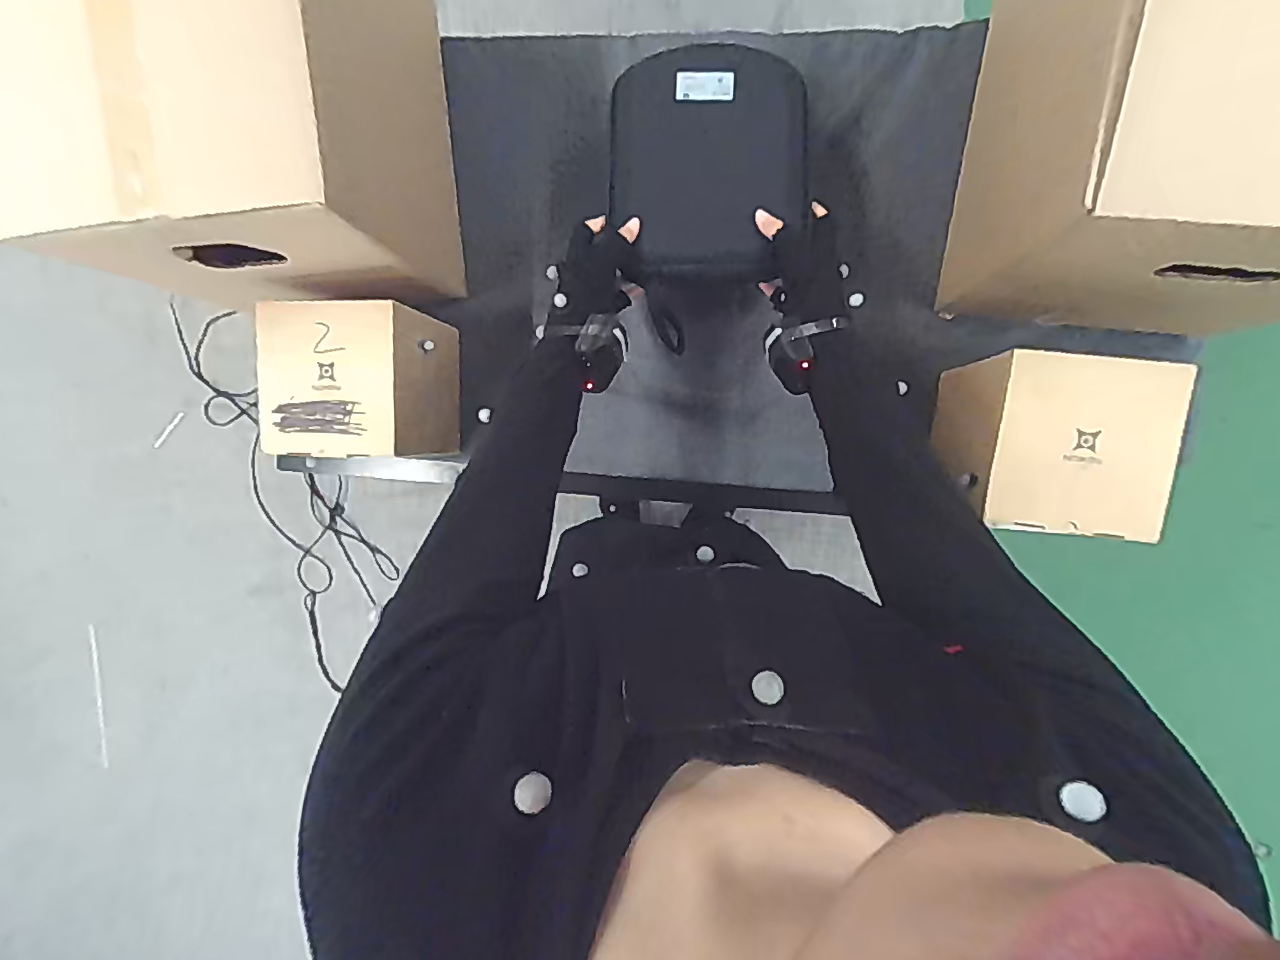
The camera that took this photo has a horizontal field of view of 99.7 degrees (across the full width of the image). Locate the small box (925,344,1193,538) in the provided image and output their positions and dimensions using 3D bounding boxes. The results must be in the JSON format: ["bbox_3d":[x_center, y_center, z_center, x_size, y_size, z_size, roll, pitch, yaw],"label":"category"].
[{"bbox_3d":[0.446,-0.045,0.609,0.168,0.176,0.179,7,96,7],"label":"small box"}]
